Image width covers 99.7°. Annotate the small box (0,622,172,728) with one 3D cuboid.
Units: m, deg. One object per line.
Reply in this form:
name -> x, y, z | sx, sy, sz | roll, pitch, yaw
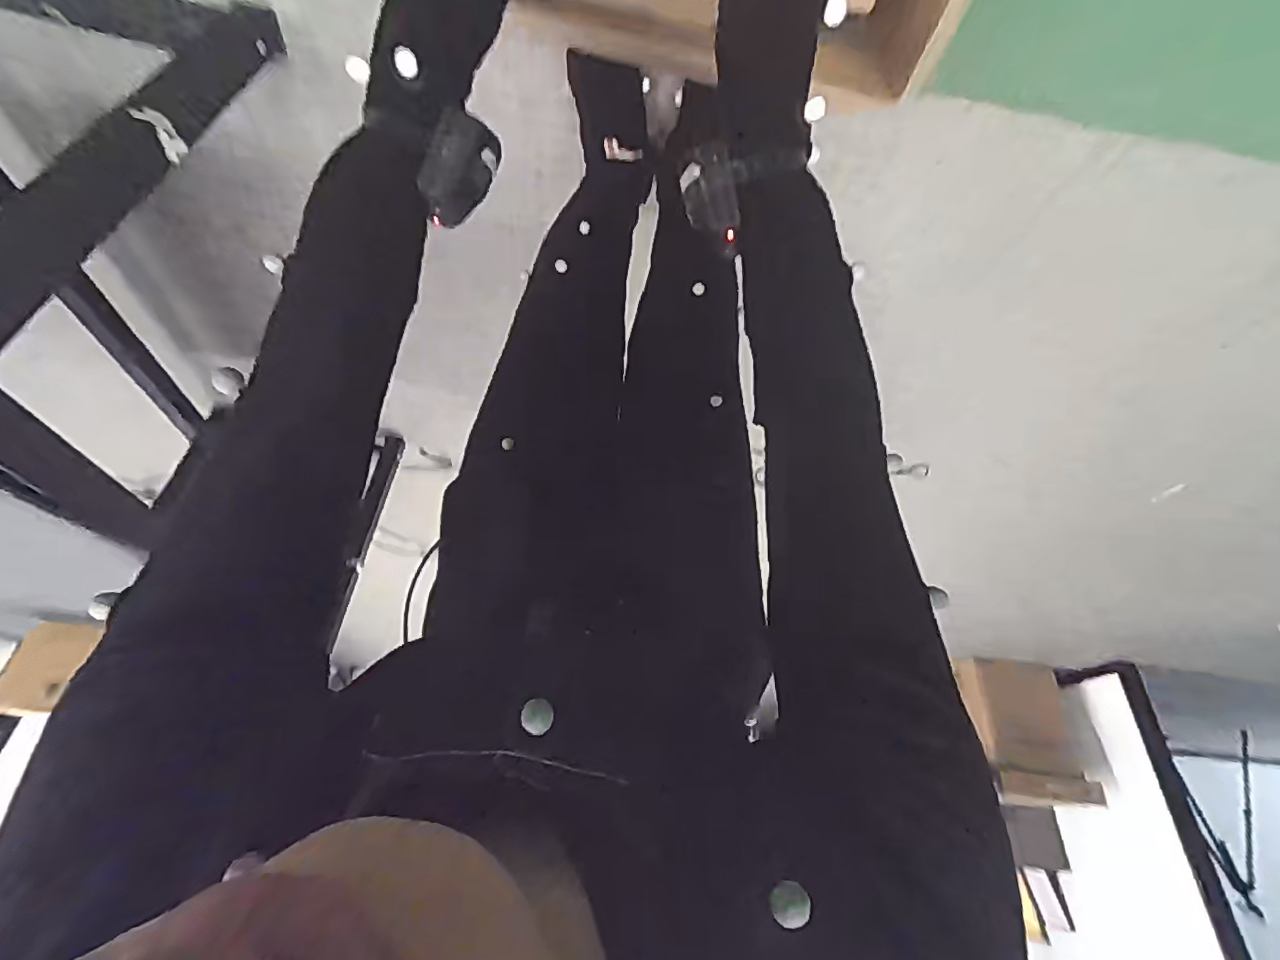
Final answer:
small box -> -1.126, 0.397, 1.103 | 0.179, 0.176, 0.168 | 9, 148, -9
